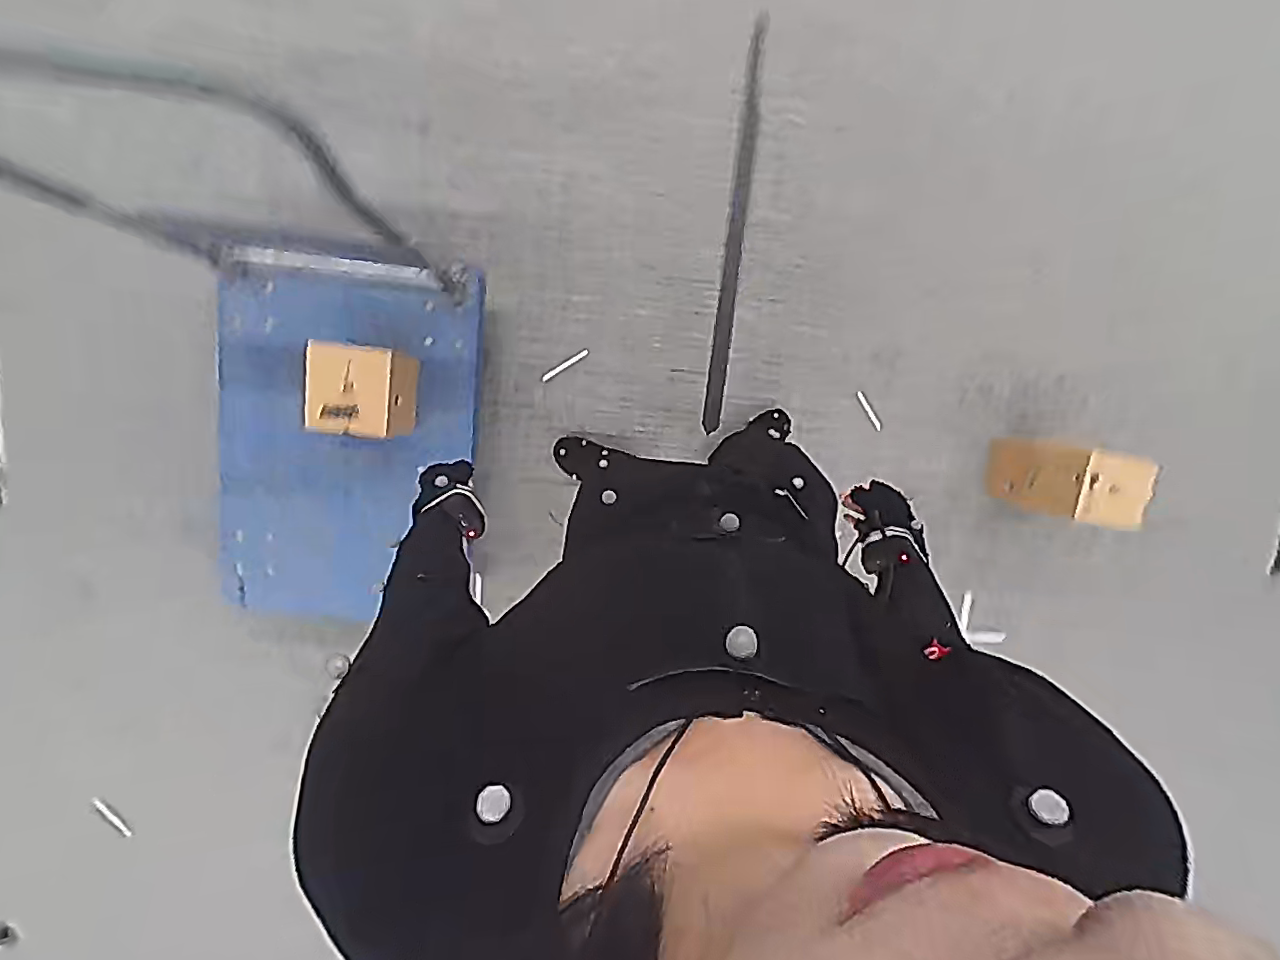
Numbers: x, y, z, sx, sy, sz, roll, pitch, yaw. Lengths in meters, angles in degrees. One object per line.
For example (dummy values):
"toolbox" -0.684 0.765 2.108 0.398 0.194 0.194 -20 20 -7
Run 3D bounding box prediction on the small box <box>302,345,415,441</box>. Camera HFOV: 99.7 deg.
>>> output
"small box" -0.603 -0.187 1.177 0.168 0.176 0.179 6 98 -4

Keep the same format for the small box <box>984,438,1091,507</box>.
"small box" 1.102 -0.023 1.514 0.168 0.176 0.179 1 98 -5

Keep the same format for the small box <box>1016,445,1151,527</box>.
"small box" 1.098 0.009 1.352 0.179 0.176 0.168 8 98 -7
